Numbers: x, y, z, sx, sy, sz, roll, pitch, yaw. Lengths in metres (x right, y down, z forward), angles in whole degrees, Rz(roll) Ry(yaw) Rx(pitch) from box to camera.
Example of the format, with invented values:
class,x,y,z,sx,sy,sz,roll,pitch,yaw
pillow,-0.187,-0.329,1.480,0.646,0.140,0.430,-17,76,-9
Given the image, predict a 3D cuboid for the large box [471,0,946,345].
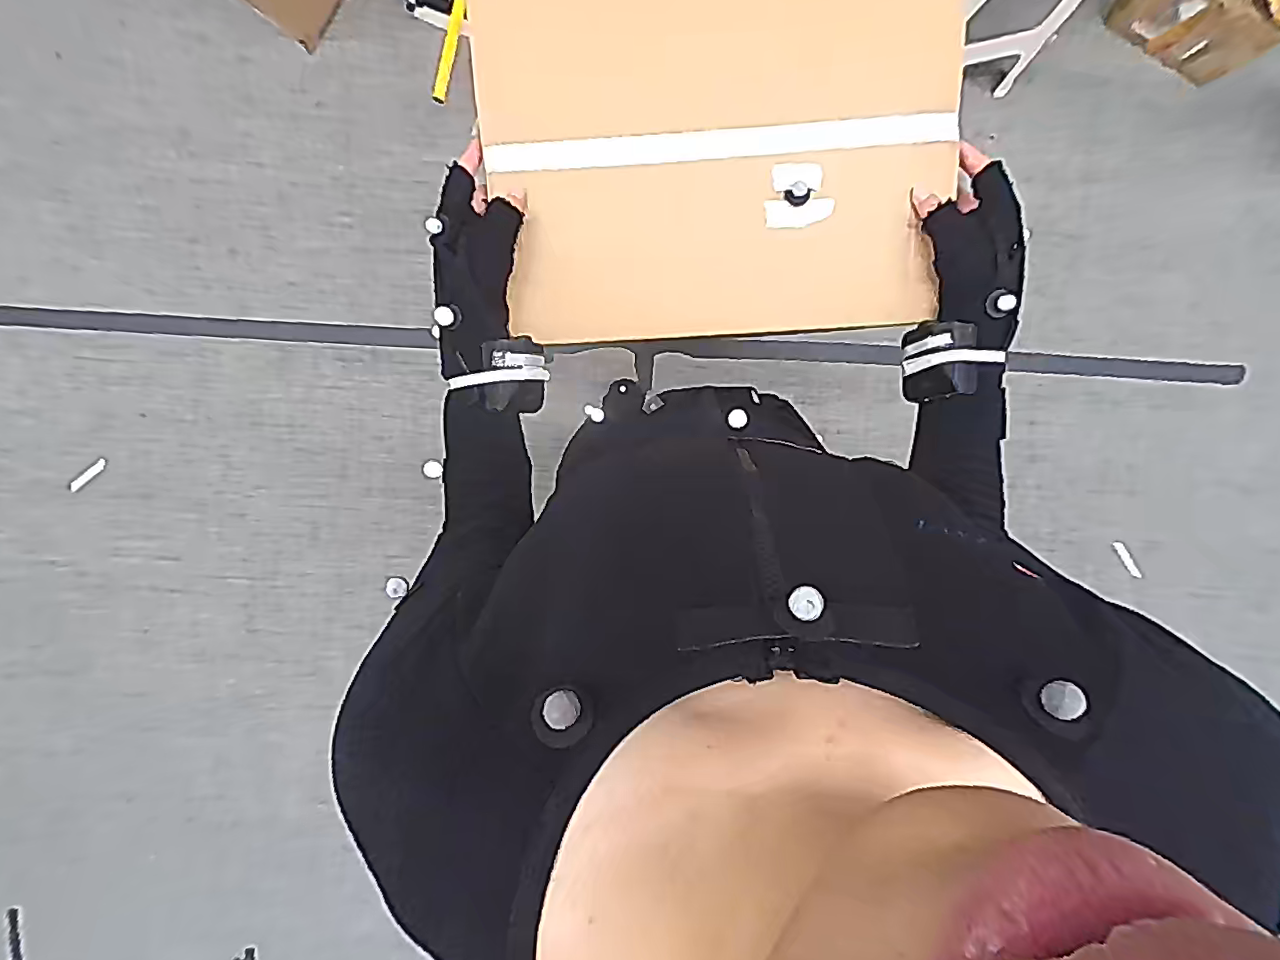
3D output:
class,x,y,z,sx,sy,sz,roll,pitch,yaw
large box,0.062,-0.330,0.621,0.408,0.320,0.320,-3,104,1
